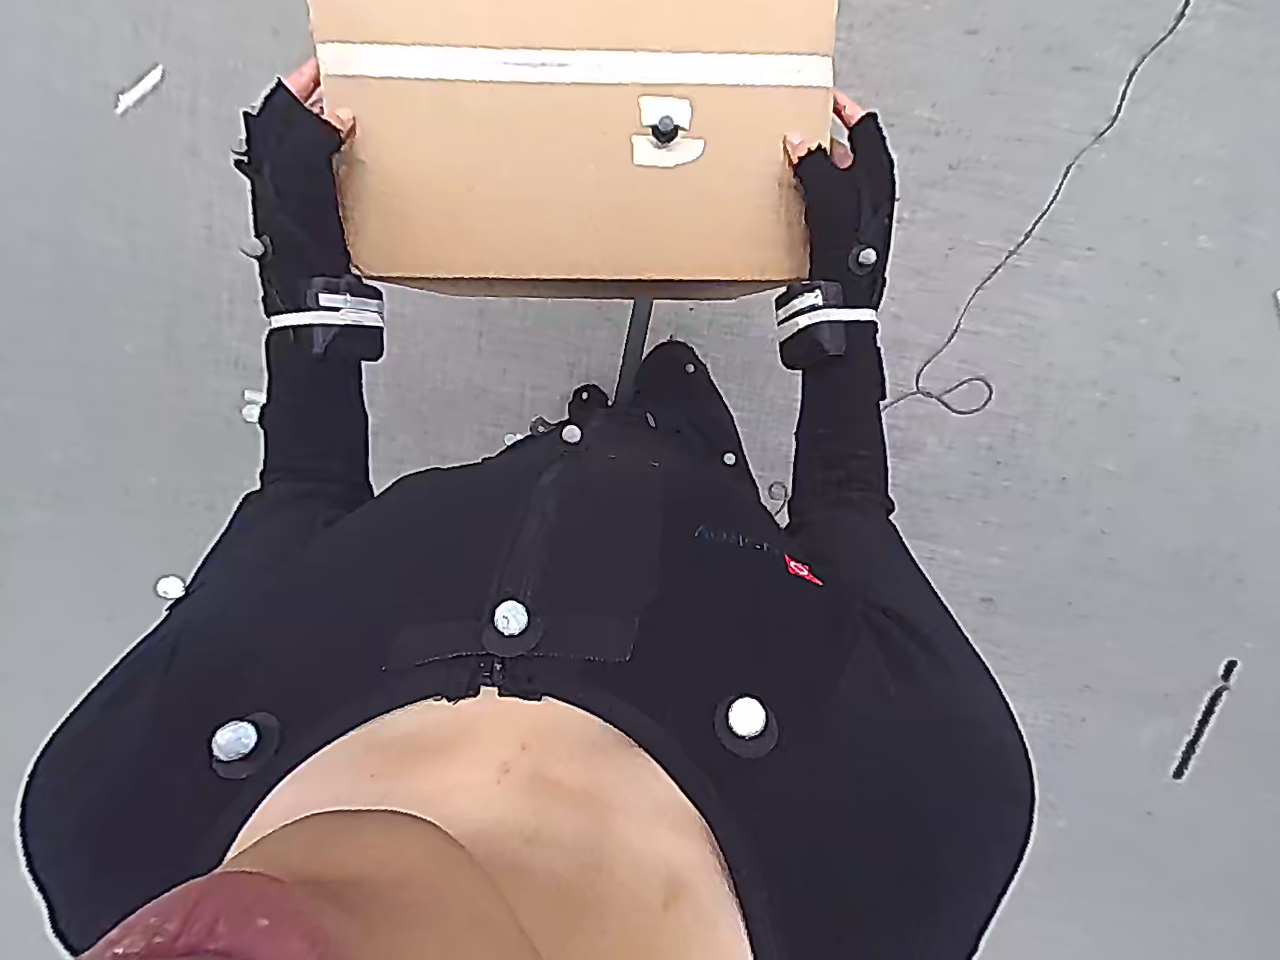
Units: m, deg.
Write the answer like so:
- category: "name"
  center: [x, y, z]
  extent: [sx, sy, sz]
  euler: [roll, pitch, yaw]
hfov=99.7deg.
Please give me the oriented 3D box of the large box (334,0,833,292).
- category: "large box"
  center: [-0.051, -0.379, 0.584]
  extent: [0.408, 0.320, 0.320]
  euler: [0, 106, -3]

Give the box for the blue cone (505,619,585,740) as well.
- category: "blue cone"
  center: [-0.283, 0.546, 1.434]
  extent: [0.193, 0.380, 0.192]
  euler: [32, 100, -4]
